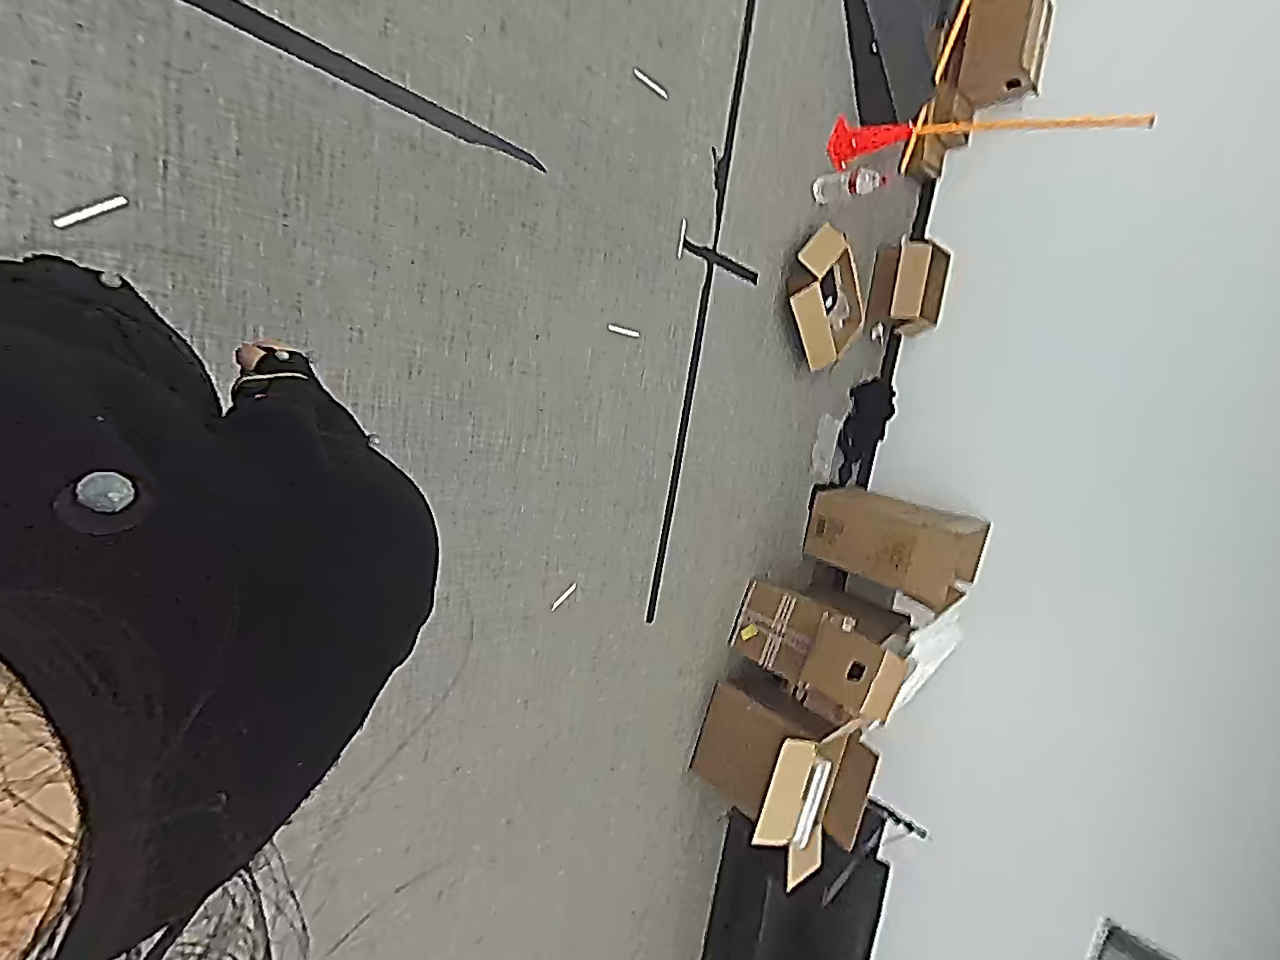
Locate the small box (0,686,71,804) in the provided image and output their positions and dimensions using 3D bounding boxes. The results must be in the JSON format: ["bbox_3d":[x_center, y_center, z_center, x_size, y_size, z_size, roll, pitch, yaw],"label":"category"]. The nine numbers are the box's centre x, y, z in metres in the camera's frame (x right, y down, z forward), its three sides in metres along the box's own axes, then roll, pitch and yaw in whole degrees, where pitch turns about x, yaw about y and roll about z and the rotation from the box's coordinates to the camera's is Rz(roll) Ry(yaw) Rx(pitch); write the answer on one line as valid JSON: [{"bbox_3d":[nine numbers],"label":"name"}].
[{"bbox_3d":[-1.192,0.508,1.012,0.168,0.176,0.179,3,101,-45],"label":"small box"}]

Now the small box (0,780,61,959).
[{"bbox_3d":[-0.966,0.585,0.784,0.168,0.176,0.179,0,102,-45],"label":"small box"}]
